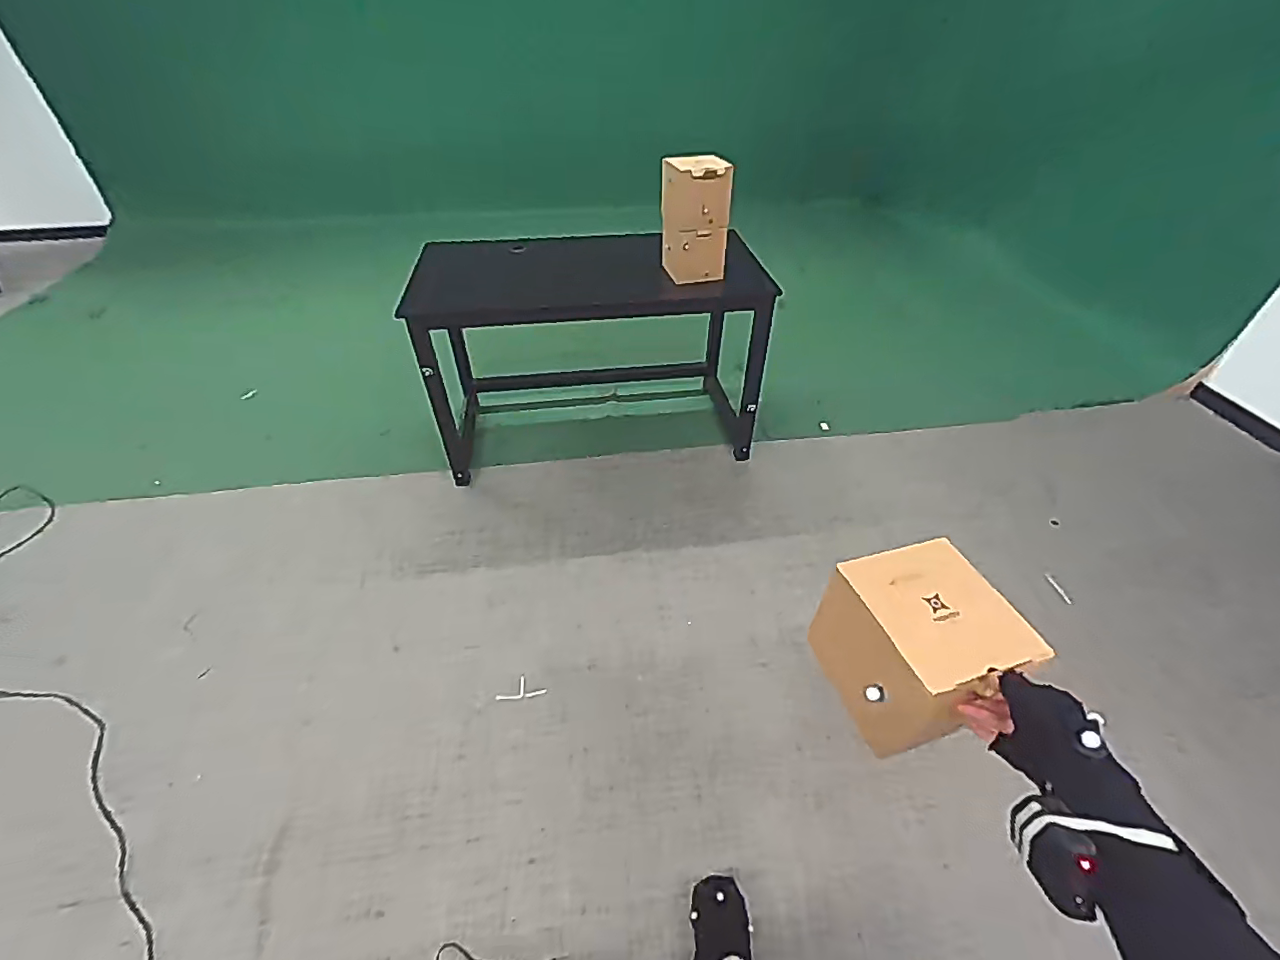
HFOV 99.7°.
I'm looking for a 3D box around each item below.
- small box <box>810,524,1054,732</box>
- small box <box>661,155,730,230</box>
[{"bbox_3d":[0.337,0.186,0.666,0.168,0.176,0.179,-11,43,-14],"label":"small box"},{"bbox_3d":[0.165,-0.895,1.683,0.168,0.176,0.179,-11,43,-11],"label":"small box"}]
